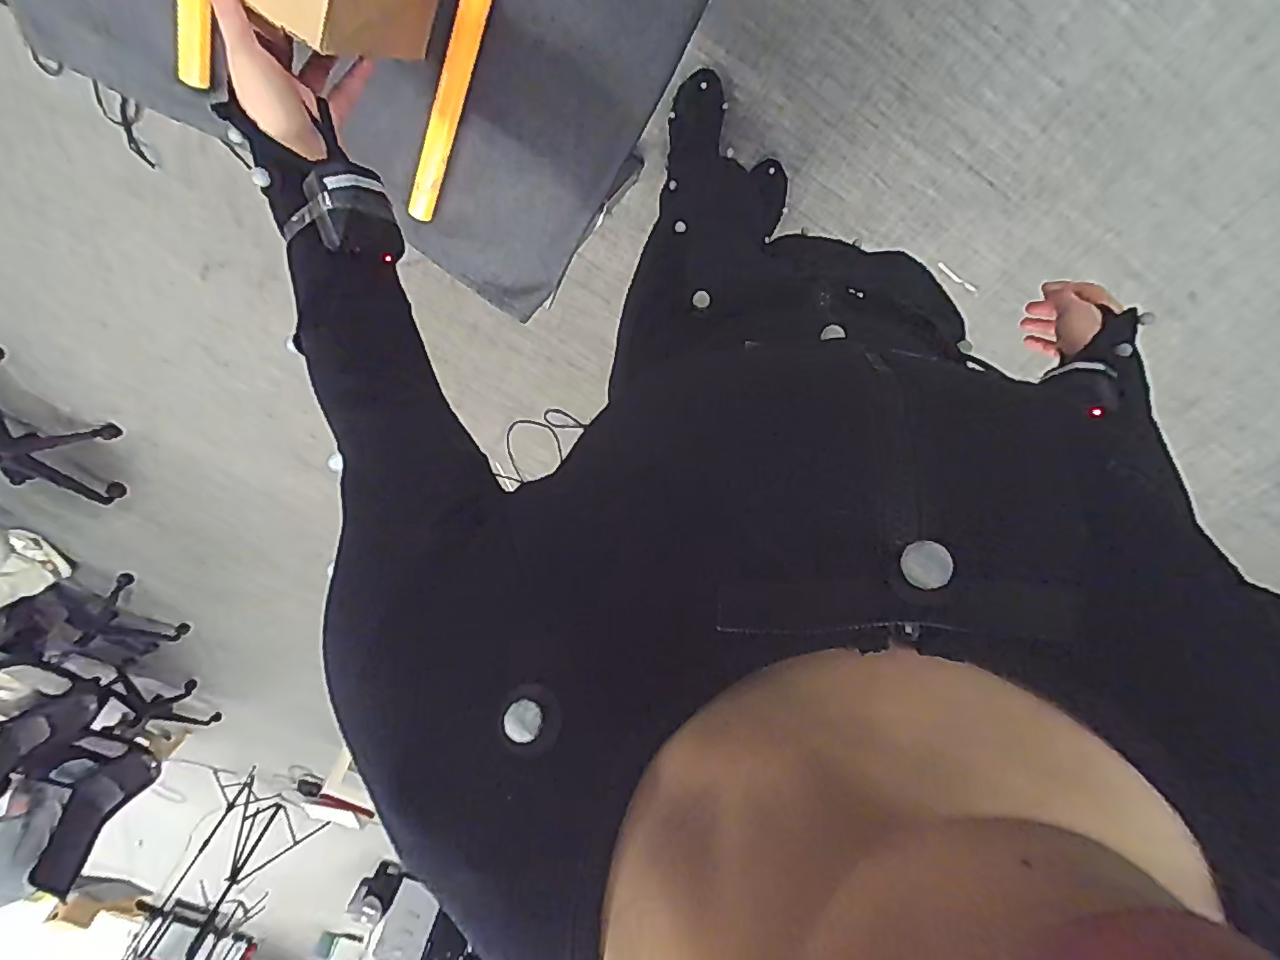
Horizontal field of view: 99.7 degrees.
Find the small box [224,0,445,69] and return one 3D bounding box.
[{"bbox_3d":[-0.247,-0.452,0.410,0.168,0.176,0.179,29,125,-12],"label":"small box"}]
